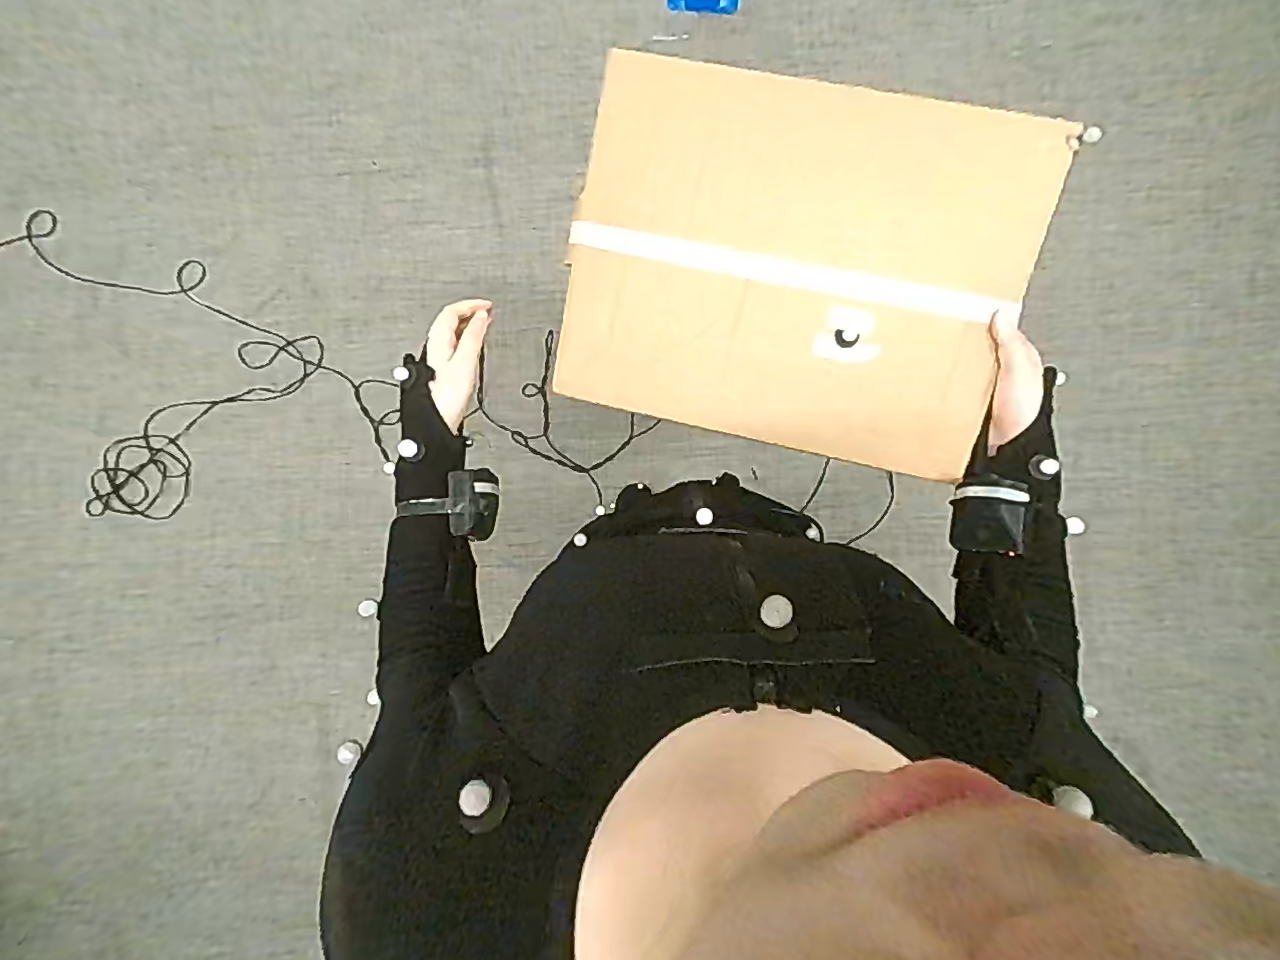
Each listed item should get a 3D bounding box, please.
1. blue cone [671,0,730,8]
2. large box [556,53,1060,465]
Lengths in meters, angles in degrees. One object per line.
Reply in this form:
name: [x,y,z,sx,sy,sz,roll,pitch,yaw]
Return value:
blue cone: [0.171,-1.429,1.358,0.193,0.380,0.192,6,89,1]
large box: [0.148,-0.224,0.641,0.408,0.320,0.320,12,103,4]
